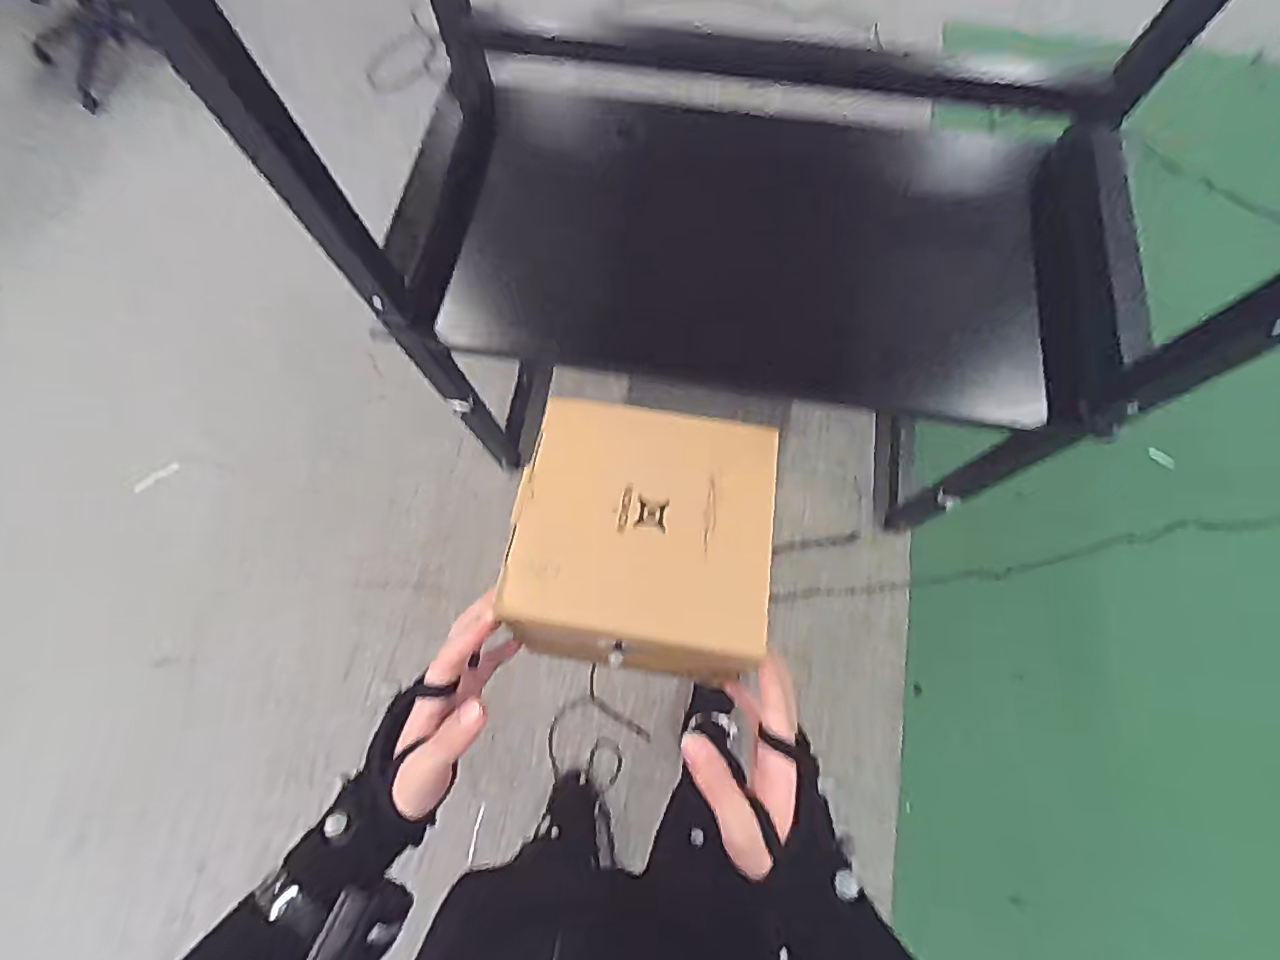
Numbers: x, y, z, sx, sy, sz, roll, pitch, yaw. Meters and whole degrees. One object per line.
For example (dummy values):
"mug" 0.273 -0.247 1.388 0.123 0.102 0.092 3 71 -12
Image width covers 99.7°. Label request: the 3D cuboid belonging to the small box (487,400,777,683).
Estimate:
"small box" 0.000 0.060 0.439 0.179 0.176 0.168 10 63 2
